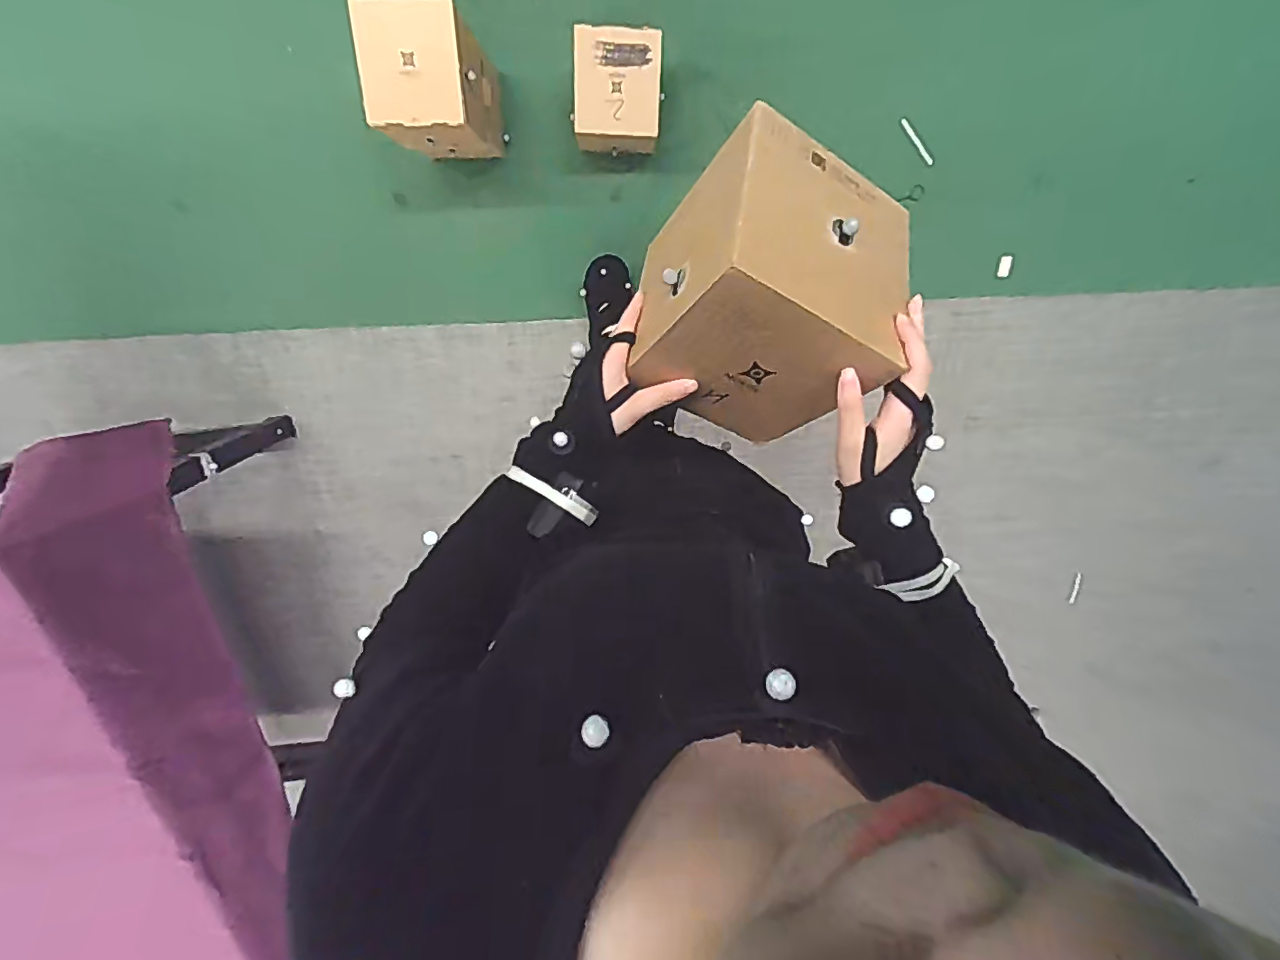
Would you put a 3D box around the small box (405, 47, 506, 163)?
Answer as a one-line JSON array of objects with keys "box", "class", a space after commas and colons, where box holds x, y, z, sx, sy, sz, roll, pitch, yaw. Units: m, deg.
[{"box": [-0.379, -0.762, 1.111, 0.179, 0.176, 0.168, -1, 111, 0], "class": "small box"}]

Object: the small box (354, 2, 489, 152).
[{"box": [-0.374, -0.702, 0.960, 0.168, 0.176, 0.179, -1, 111, -1], "class": "small box"}]
